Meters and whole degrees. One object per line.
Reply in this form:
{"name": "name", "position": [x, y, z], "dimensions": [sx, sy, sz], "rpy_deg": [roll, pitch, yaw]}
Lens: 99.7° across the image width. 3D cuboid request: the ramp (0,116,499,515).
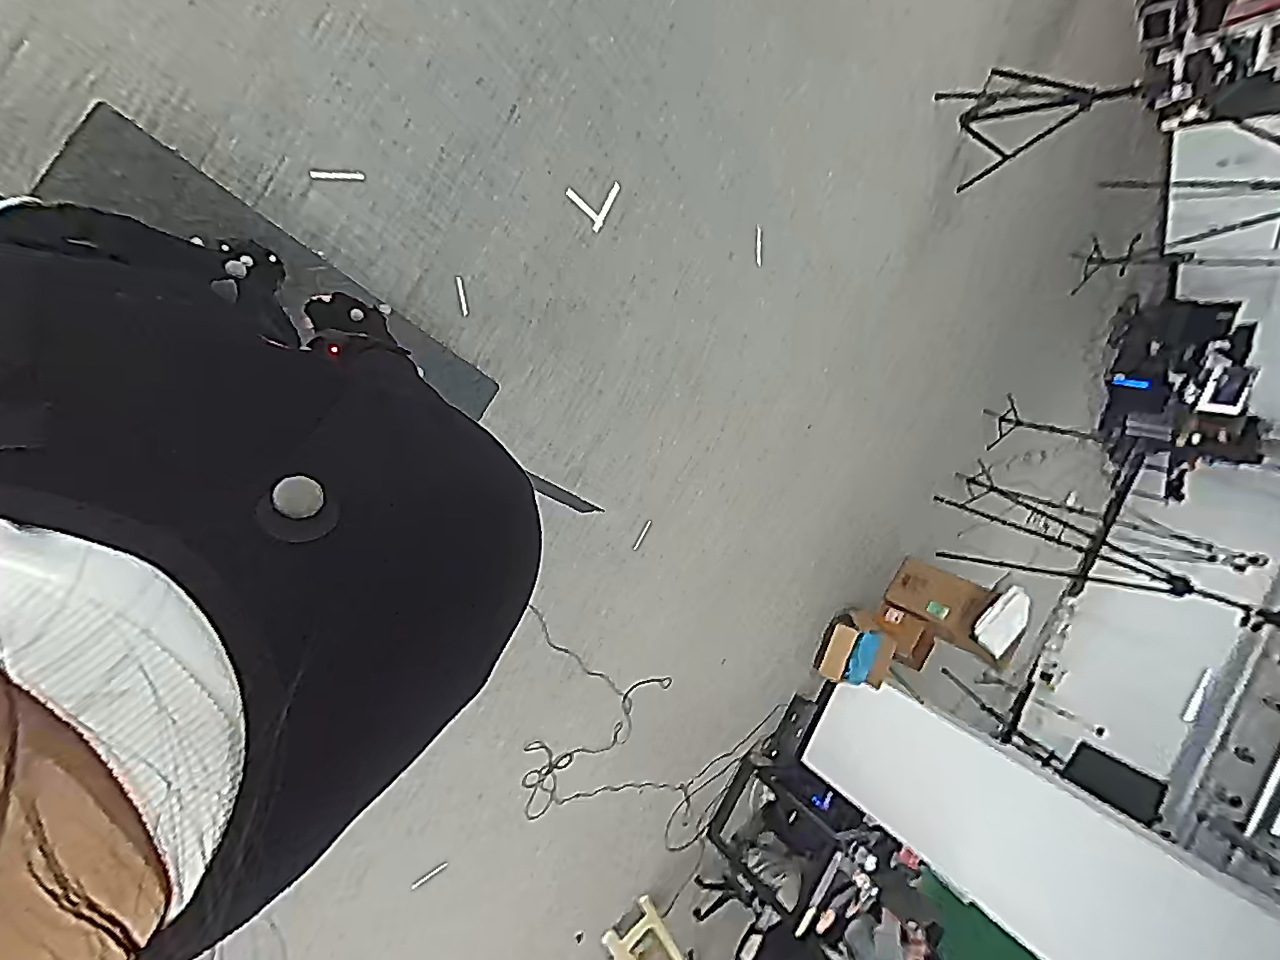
{"name": "ramp", "position": [-0.805, -0.265, 1.318], "dimensions": [0.991, 0.206, 0.509], "rpy_deg": [30, 85, -44]}
